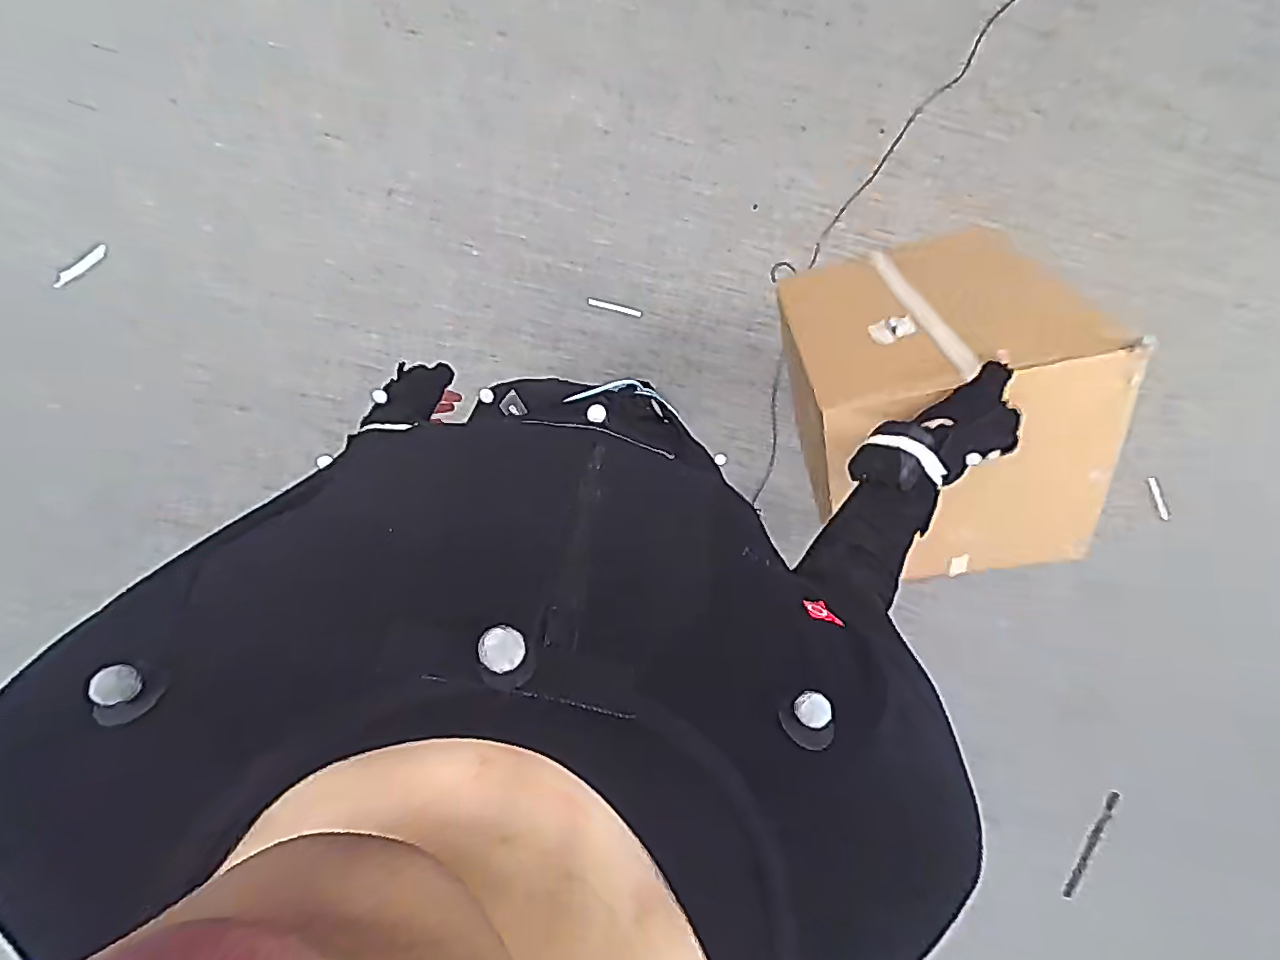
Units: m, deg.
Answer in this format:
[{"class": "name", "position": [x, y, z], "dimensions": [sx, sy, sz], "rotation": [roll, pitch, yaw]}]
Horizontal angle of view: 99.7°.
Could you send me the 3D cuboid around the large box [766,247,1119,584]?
[{"class": "large box", "position": [0.393, -0.107, 0.826], "dimensions": [0.320, 0.408, 0.320], "rotation": [-11, 128, 12]}]
